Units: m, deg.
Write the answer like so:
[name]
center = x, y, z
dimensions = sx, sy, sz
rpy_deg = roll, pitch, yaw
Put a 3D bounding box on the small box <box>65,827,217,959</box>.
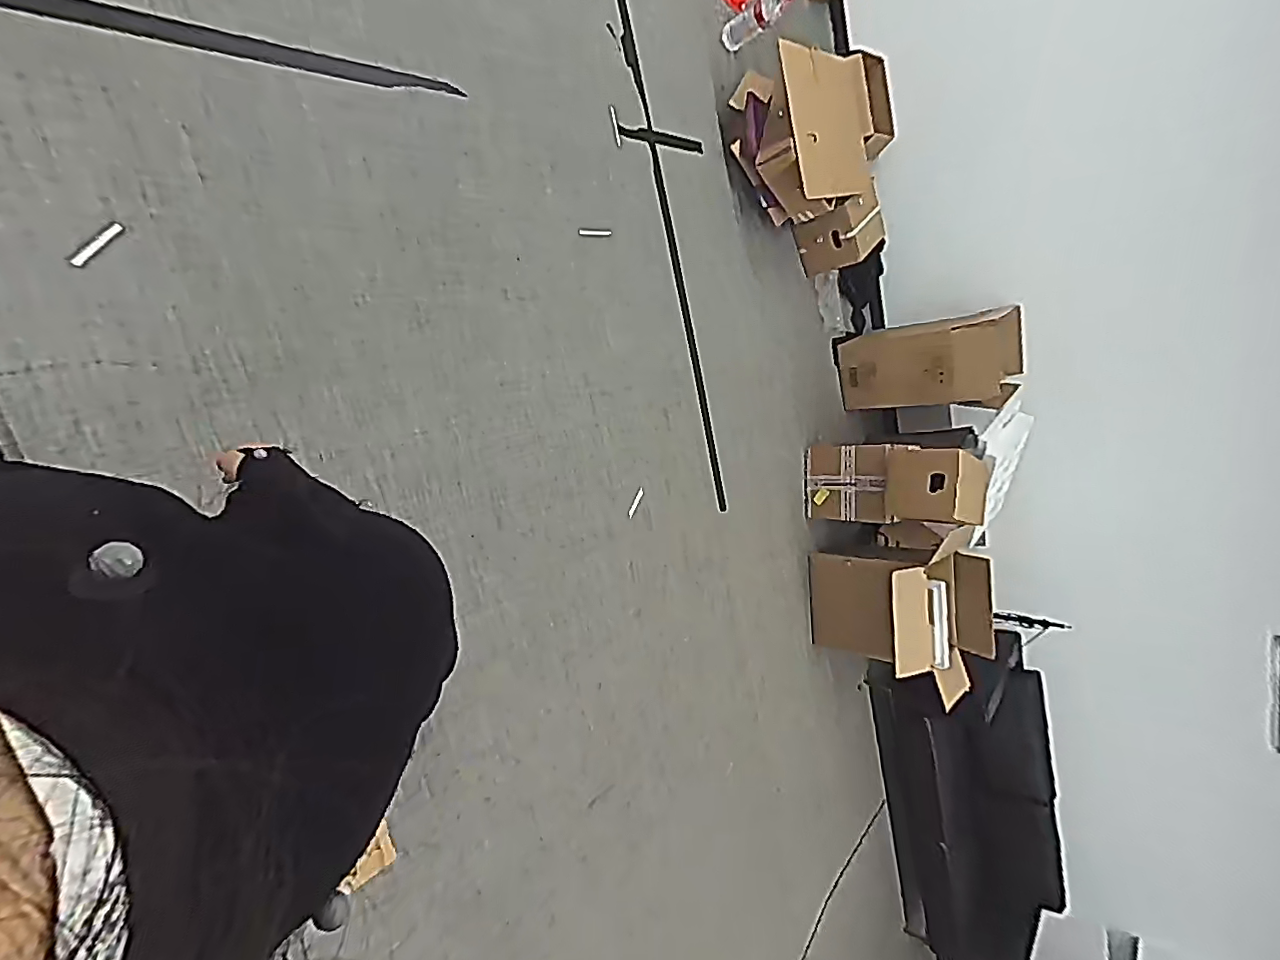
[small box]
center = -0.980, 0.843, 1.069
dimensions = 0.179, 0.176, 0.168
rpy_deg = -24, 106, -43
